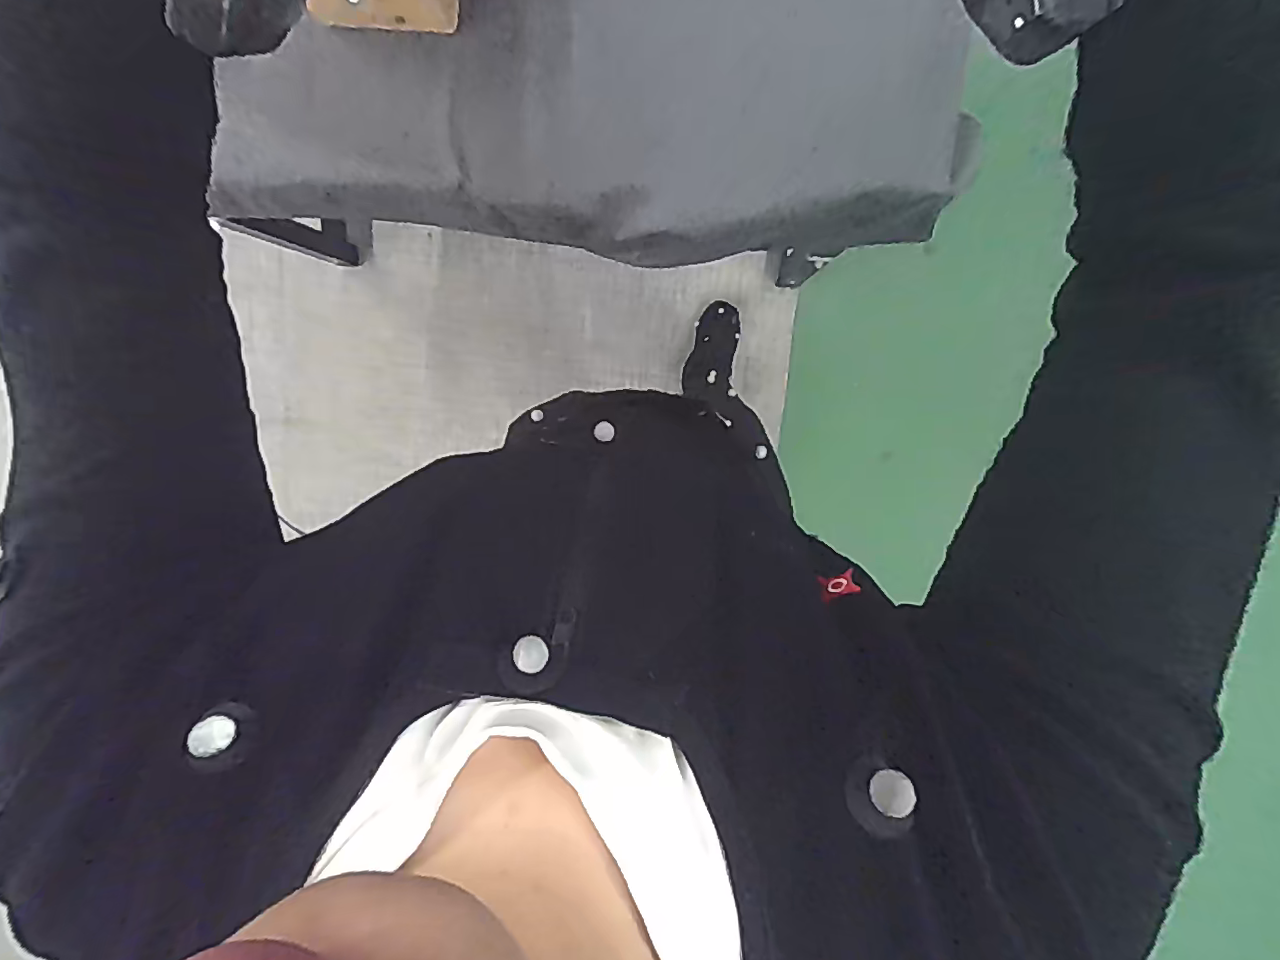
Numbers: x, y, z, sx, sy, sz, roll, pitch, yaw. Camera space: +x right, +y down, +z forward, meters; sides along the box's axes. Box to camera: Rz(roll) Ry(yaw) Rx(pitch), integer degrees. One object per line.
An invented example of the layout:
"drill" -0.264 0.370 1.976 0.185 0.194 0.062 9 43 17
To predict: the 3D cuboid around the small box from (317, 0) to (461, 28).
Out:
"small box" -0.287 -0.602 0.544 0.168 0.176 0.179 6 101 3
